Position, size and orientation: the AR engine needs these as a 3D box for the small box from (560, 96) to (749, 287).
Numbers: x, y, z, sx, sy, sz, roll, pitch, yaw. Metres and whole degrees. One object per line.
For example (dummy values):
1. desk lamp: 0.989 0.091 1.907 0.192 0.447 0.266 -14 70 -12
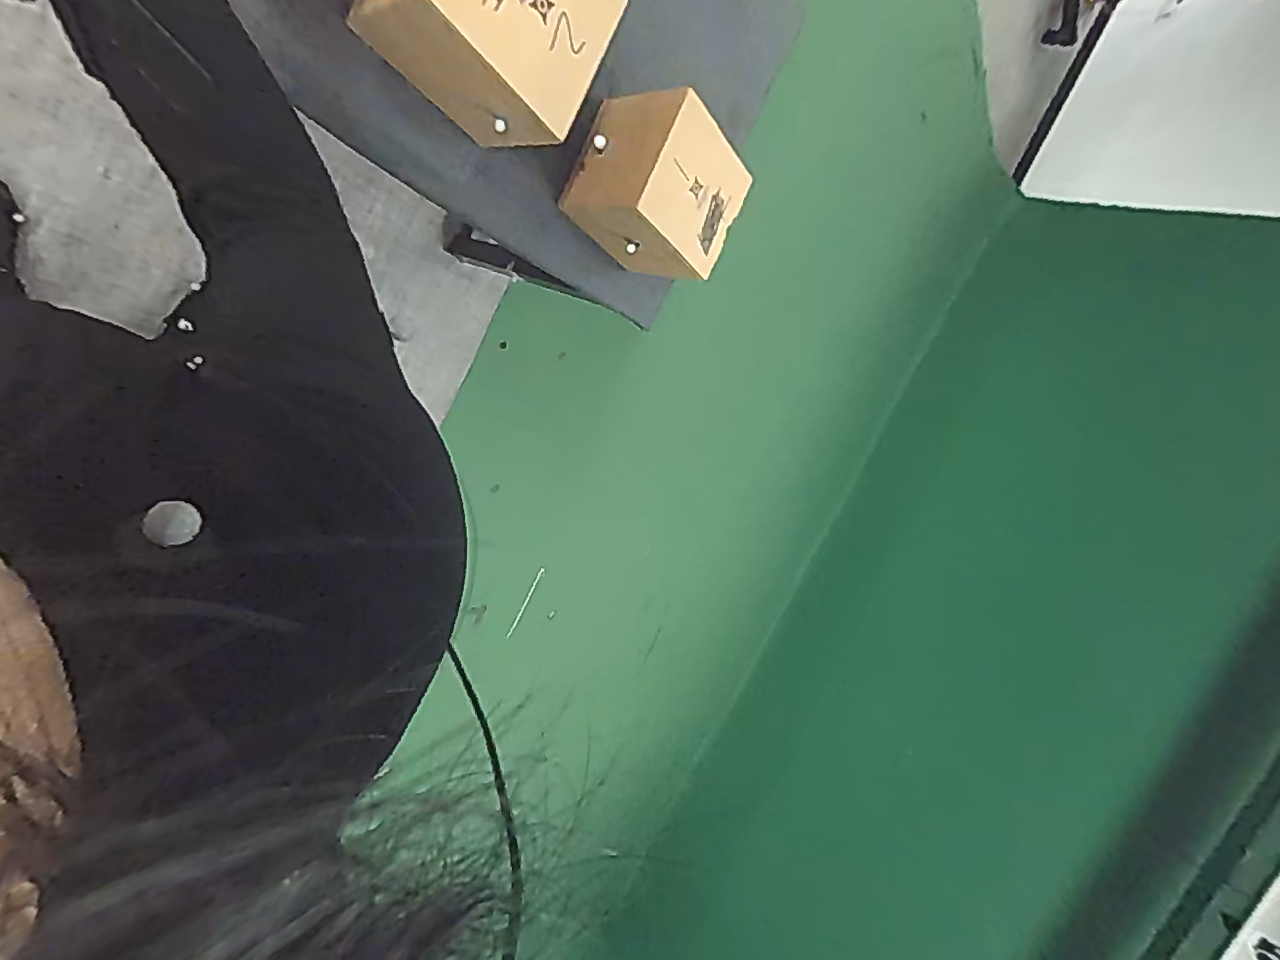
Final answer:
1. small box: 0.020 -0.405 0.776 0.179 0.176 0.168 23 92 -49
